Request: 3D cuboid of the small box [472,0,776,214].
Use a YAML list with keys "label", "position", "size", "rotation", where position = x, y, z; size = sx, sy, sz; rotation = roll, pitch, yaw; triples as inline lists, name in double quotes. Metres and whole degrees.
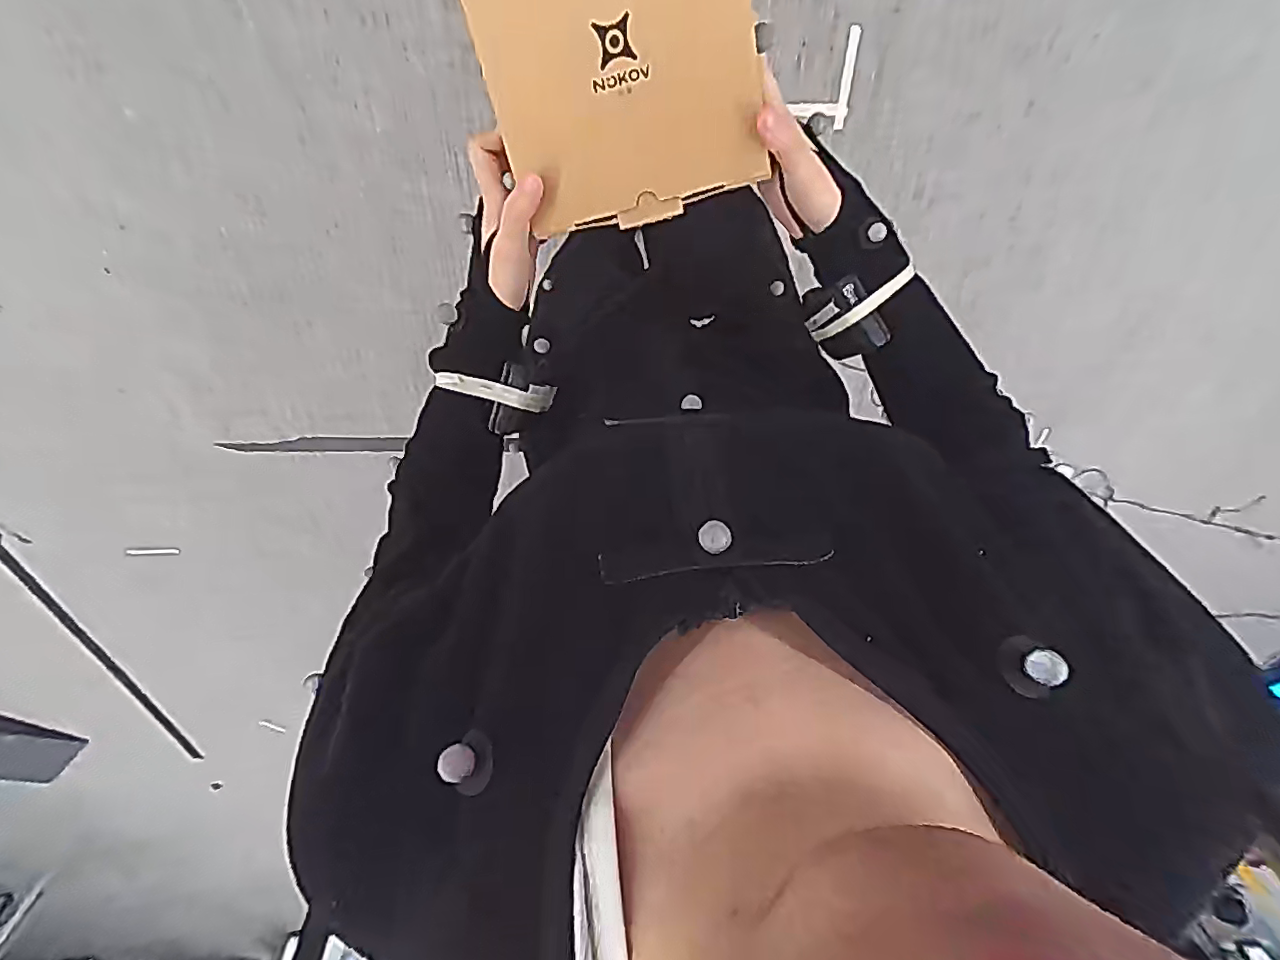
- label: "small box"
  position: [-0.011, -0.300, 0.384]
  size: [0.168, 0.176, 0.179]
  rotation: [-11, 116, 7]
